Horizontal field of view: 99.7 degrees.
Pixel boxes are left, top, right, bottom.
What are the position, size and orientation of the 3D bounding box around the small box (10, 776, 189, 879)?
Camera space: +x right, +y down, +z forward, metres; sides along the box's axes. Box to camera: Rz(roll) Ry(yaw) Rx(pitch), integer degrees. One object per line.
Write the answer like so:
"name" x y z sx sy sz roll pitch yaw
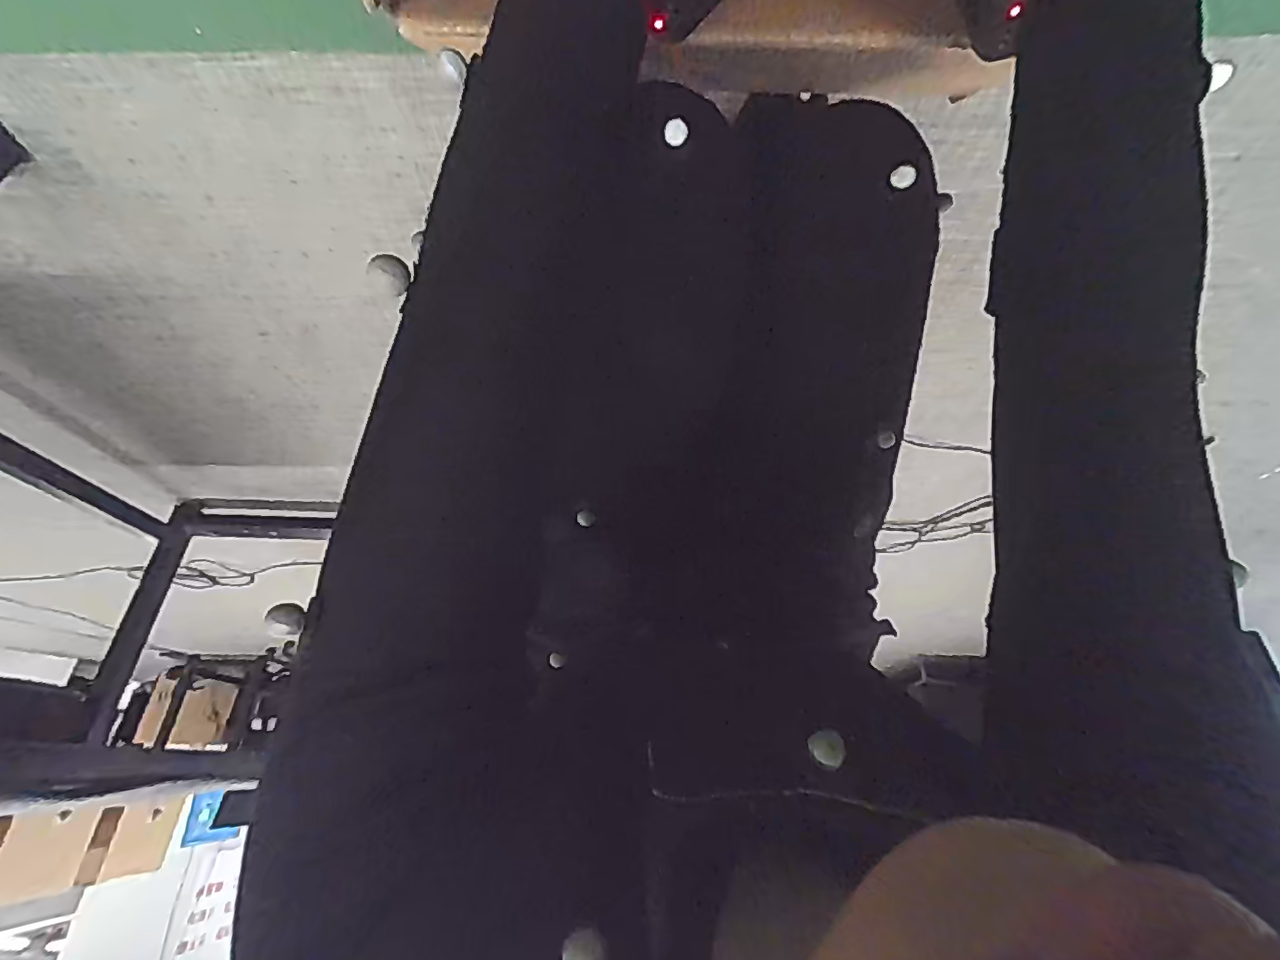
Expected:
"small box" -1.114 0.719 1.135 0.179 0.176 0.168 1 152 0
